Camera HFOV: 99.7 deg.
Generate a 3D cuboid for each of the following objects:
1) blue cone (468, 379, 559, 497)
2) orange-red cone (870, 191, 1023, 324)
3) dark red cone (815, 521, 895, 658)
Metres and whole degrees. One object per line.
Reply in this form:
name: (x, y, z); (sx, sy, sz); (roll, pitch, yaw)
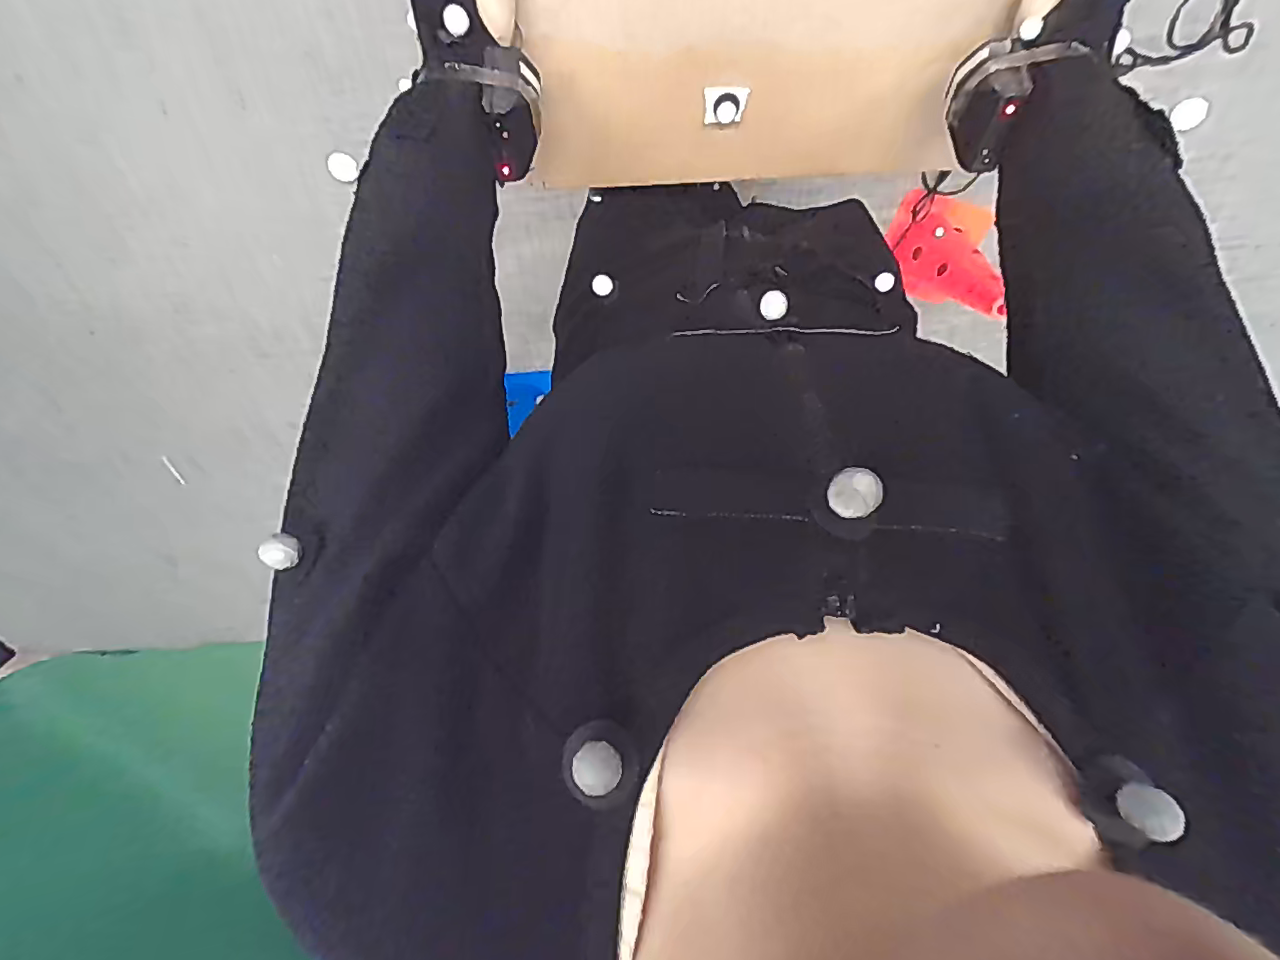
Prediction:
blue cone: (-0.331, -0.087, 1.317); (0.192, 0.380, 0.193); (-1, 126, 6)
orange-red cone: (0.605, -0.377, 1.003); (0.199, 0.360, 0.198); (14, 128, -7)
dark red cone: (0.616, 0.306, 1.486); (0.202, 0.394, 0.201); (-8, 129, 10)
